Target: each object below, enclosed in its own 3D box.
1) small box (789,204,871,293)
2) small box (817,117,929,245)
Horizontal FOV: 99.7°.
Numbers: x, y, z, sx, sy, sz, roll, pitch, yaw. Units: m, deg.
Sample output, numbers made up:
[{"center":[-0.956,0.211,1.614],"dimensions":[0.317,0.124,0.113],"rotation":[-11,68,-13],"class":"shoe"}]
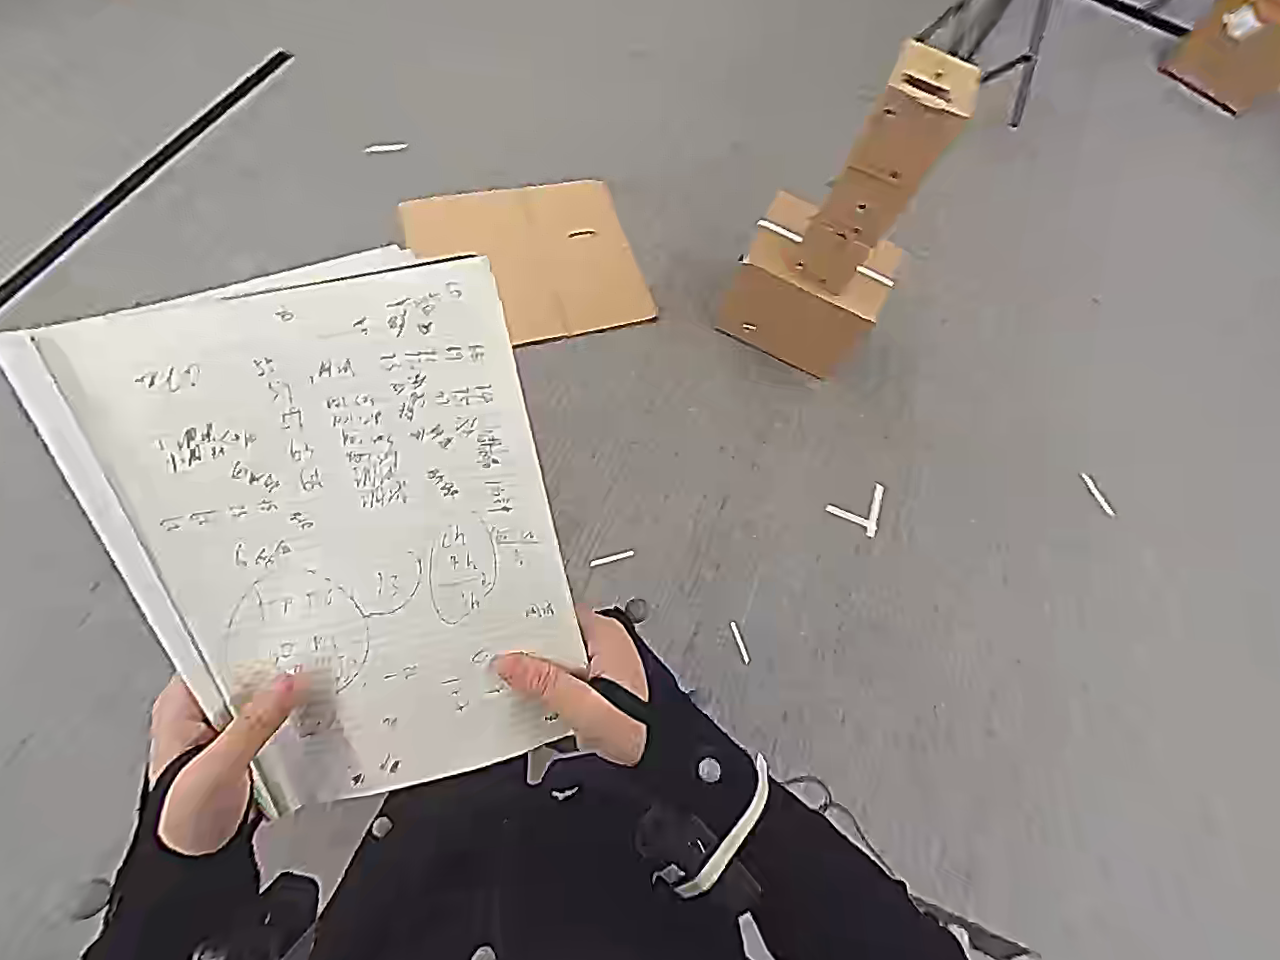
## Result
[{"center":[0.517,-0.634,1.431],"dimensions":[0.168,0.176,0.179],"rotation":[28,67,3],"class":"small box"},{"center":[0.543,-0.700,1.283],"dimensions":[0.168,0.176,0.179],"rotation":[26,69,1],"class":"small box"}]
